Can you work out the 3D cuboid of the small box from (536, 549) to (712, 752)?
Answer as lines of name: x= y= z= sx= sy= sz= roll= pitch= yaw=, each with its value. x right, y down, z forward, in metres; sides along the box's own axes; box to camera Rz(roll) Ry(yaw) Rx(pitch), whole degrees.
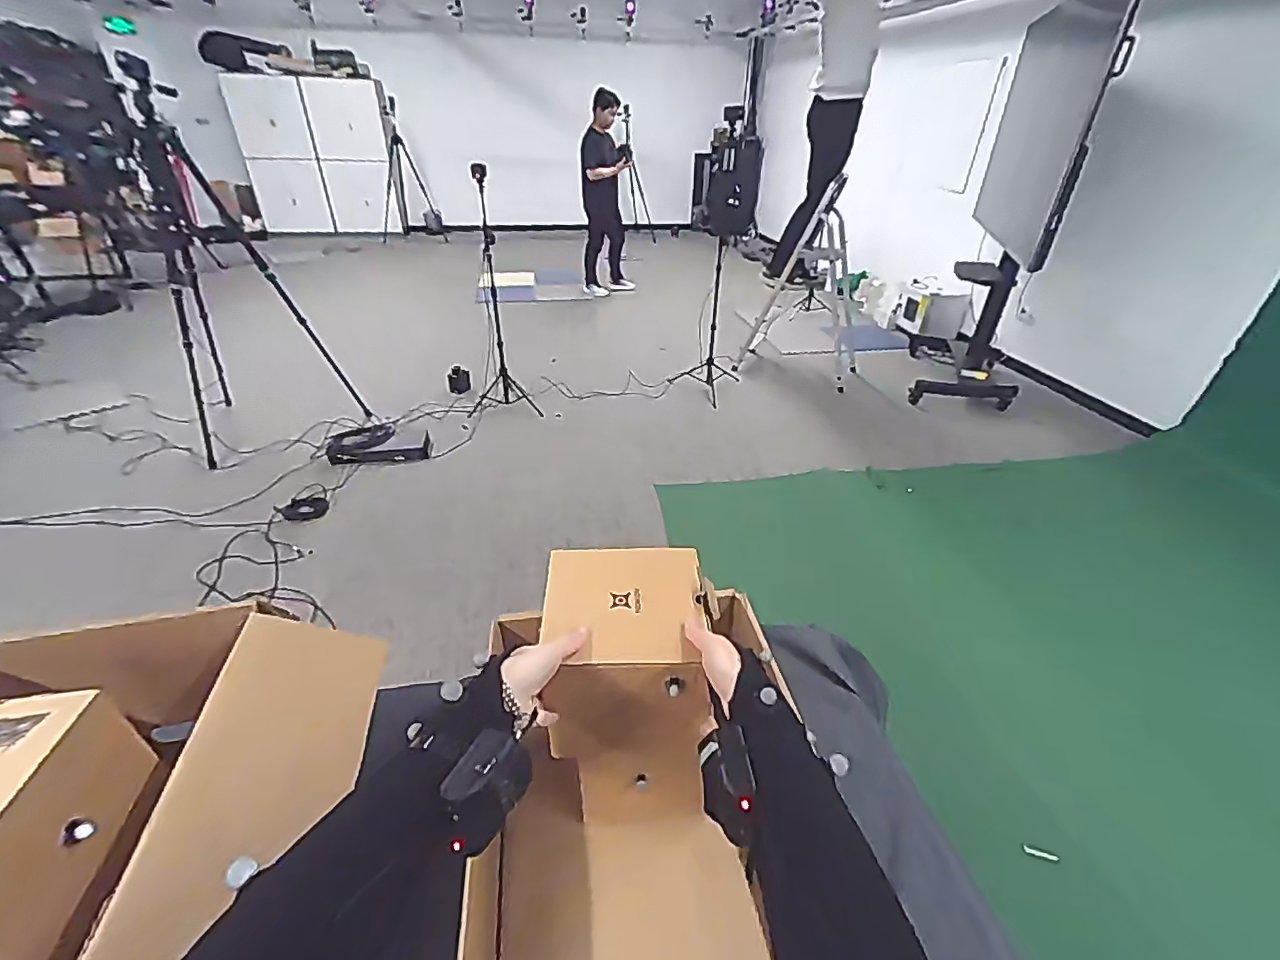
small box: x=-0.019 y=0.199 z=0.635 sx=0.179 sy=0.176 sz=0.168 roll=0 pitch=35 yaw=-3

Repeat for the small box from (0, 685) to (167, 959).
small box: x=-0.577 y=0.312 z=0.479 sx=0.168 sy=0.176 sz=0.179 roll=-3 pitch=36 yaw=-7
